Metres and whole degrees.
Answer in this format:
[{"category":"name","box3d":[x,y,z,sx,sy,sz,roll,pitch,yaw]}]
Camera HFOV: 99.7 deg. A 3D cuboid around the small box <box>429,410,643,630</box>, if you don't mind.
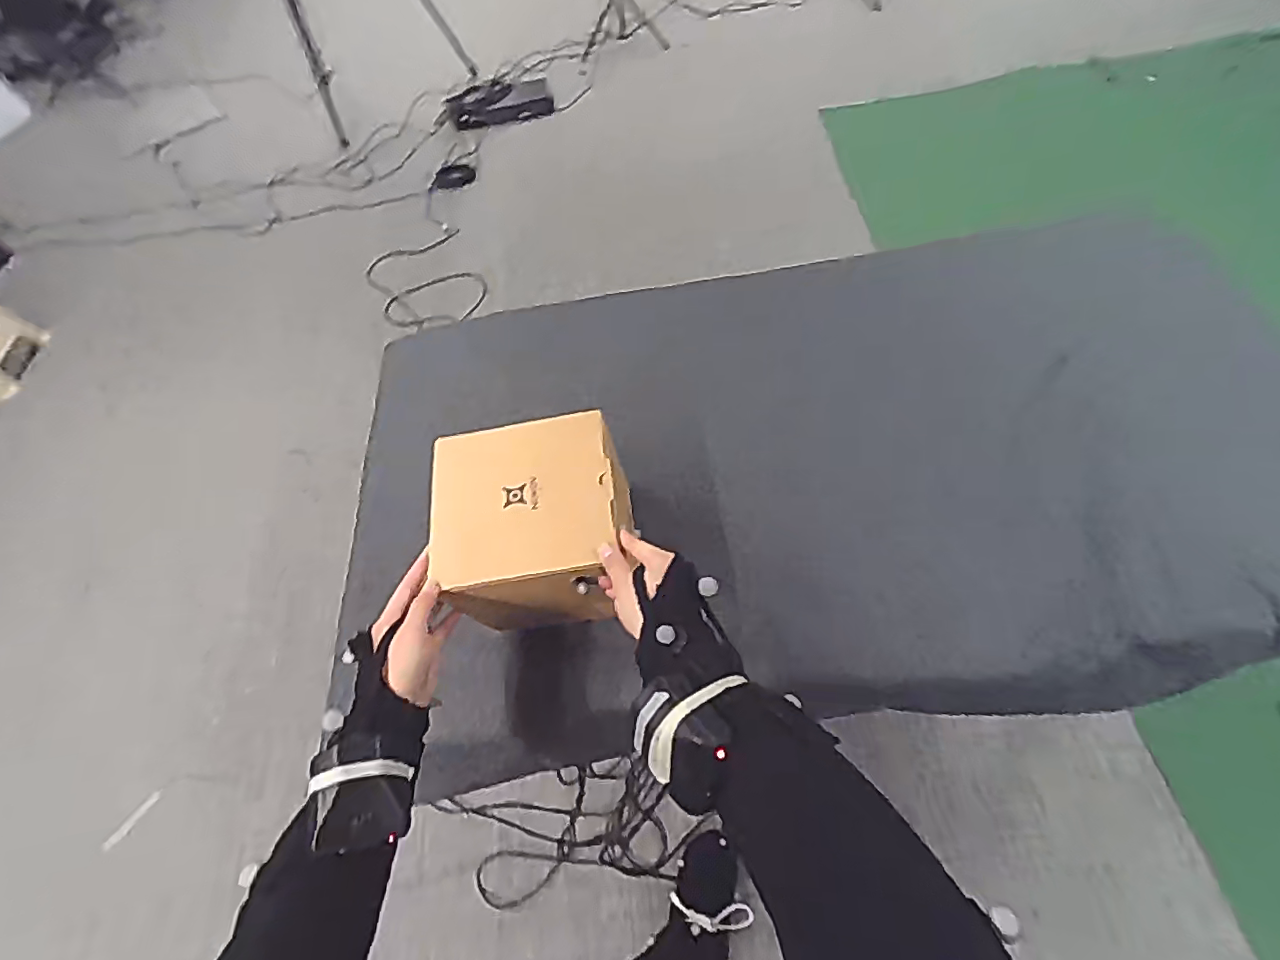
[{"category":"small box","box3d":[-0.101,0.052,0.581,0.179,0.176,0.168,-10,60,2]}]
